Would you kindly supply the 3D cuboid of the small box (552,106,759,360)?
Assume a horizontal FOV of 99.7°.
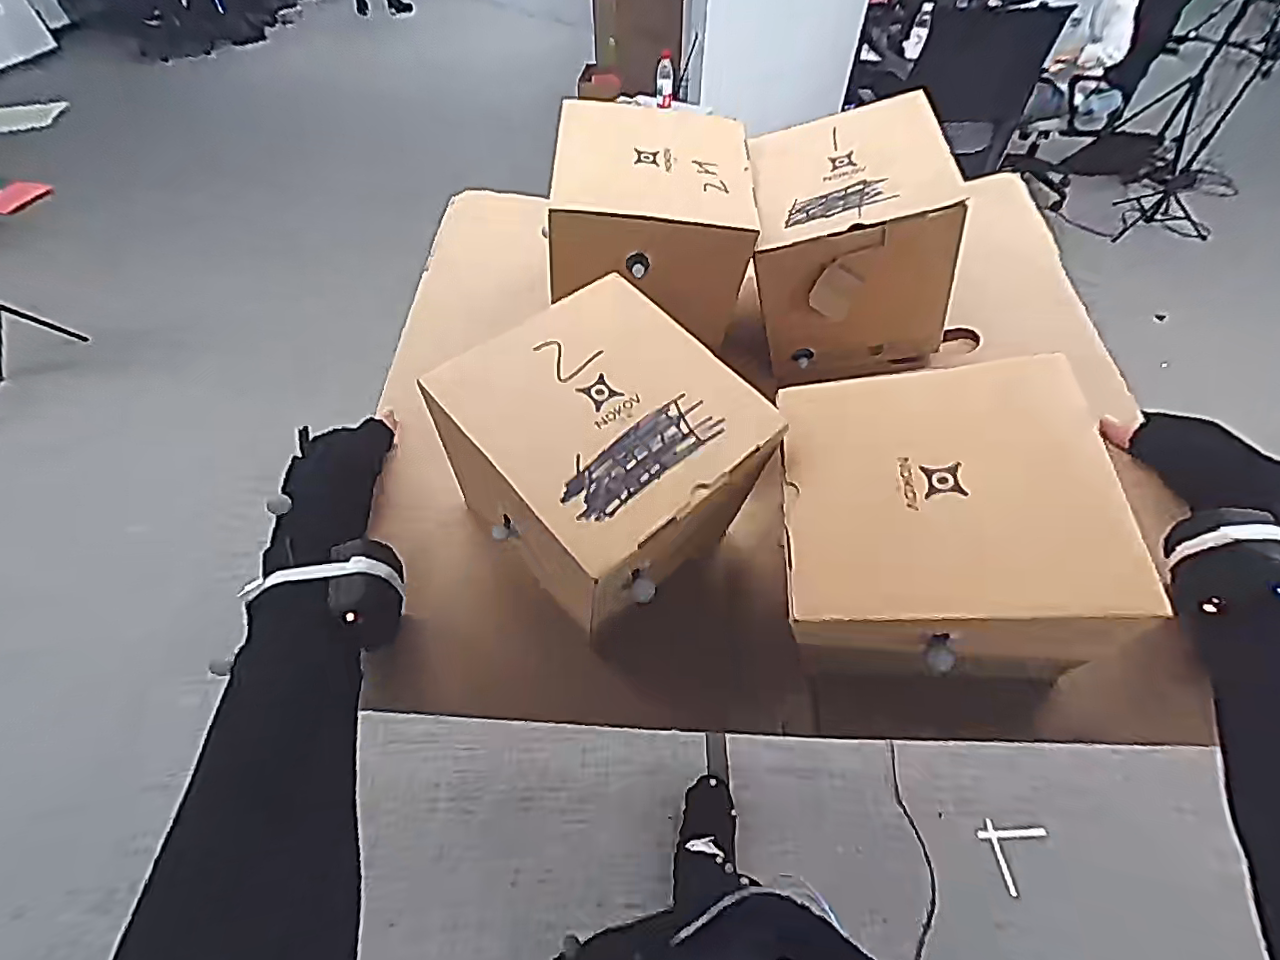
[{"bbox_3d":[0.008,-0.242,0.553,0.179,0.176,0.168,4,61,-5],"label":"small box"}]
